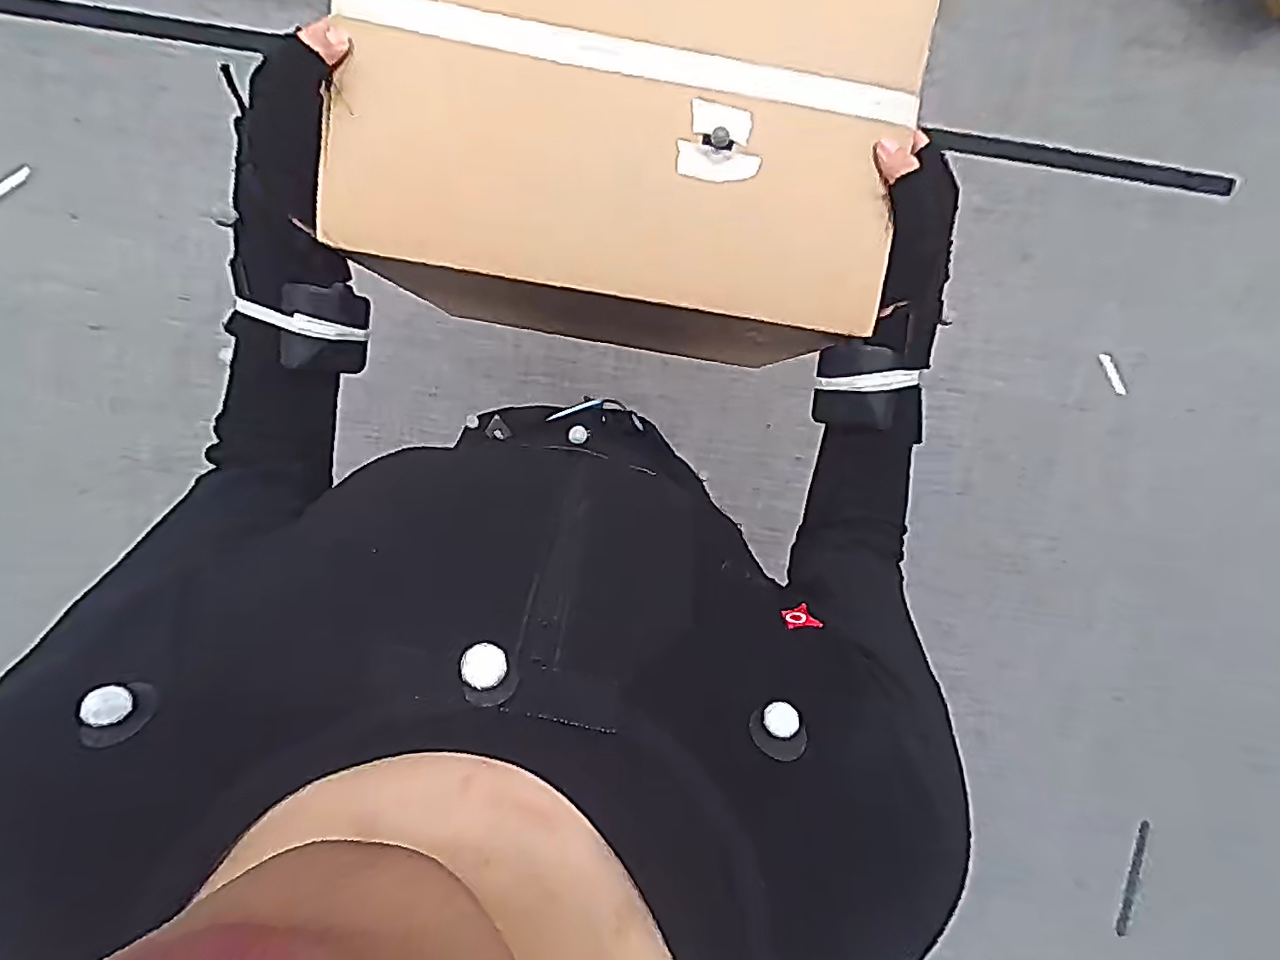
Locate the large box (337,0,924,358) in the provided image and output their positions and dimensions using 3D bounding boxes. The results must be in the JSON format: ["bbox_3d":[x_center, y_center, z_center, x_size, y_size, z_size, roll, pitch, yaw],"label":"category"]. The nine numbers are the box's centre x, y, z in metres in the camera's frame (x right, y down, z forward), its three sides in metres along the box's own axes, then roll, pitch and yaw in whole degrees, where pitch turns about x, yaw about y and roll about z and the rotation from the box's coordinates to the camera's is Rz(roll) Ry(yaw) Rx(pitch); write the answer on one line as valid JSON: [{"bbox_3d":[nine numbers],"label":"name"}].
[{"bbox_3d":[-0.013,-0.314,0.531,0.408,0.320,0.320,8,98,-5],"label":"large box"}]
